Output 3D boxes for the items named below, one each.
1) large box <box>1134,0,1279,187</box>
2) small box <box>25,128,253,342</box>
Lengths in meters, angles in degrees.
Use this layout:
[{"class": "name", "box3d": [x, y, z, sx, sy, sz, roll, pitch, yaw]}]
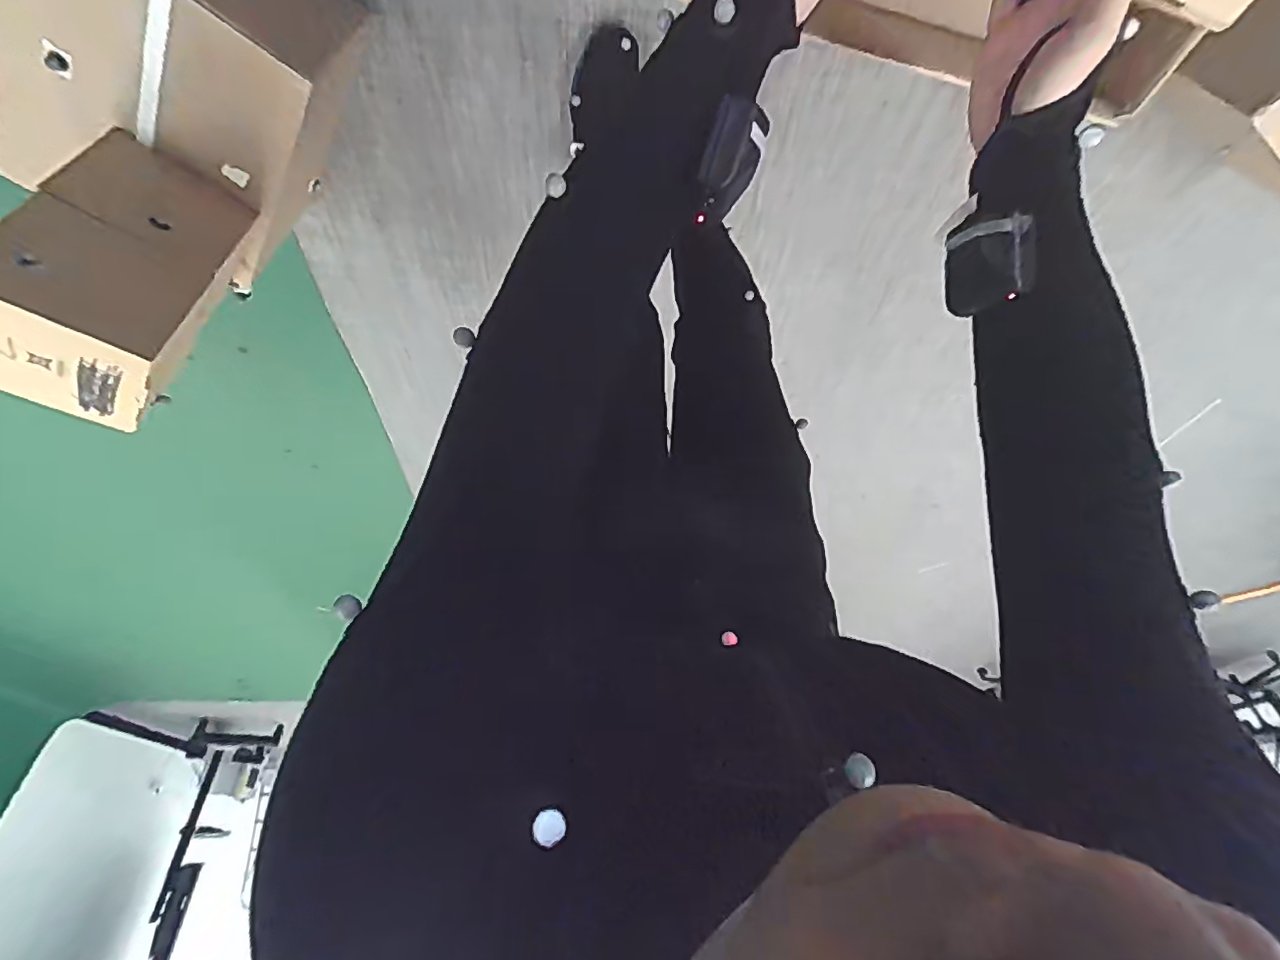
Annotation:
[{"class": "large box", "box3d": [1.081, -0.652, 0.804, 0.408, 0.320, 0.320, 18, 139, -23]}, {"class": "small box", "box3d": [-0.679, -0.336, 0.749, 0.179, 0.176, 0.168, 29, 133, -35]}]
